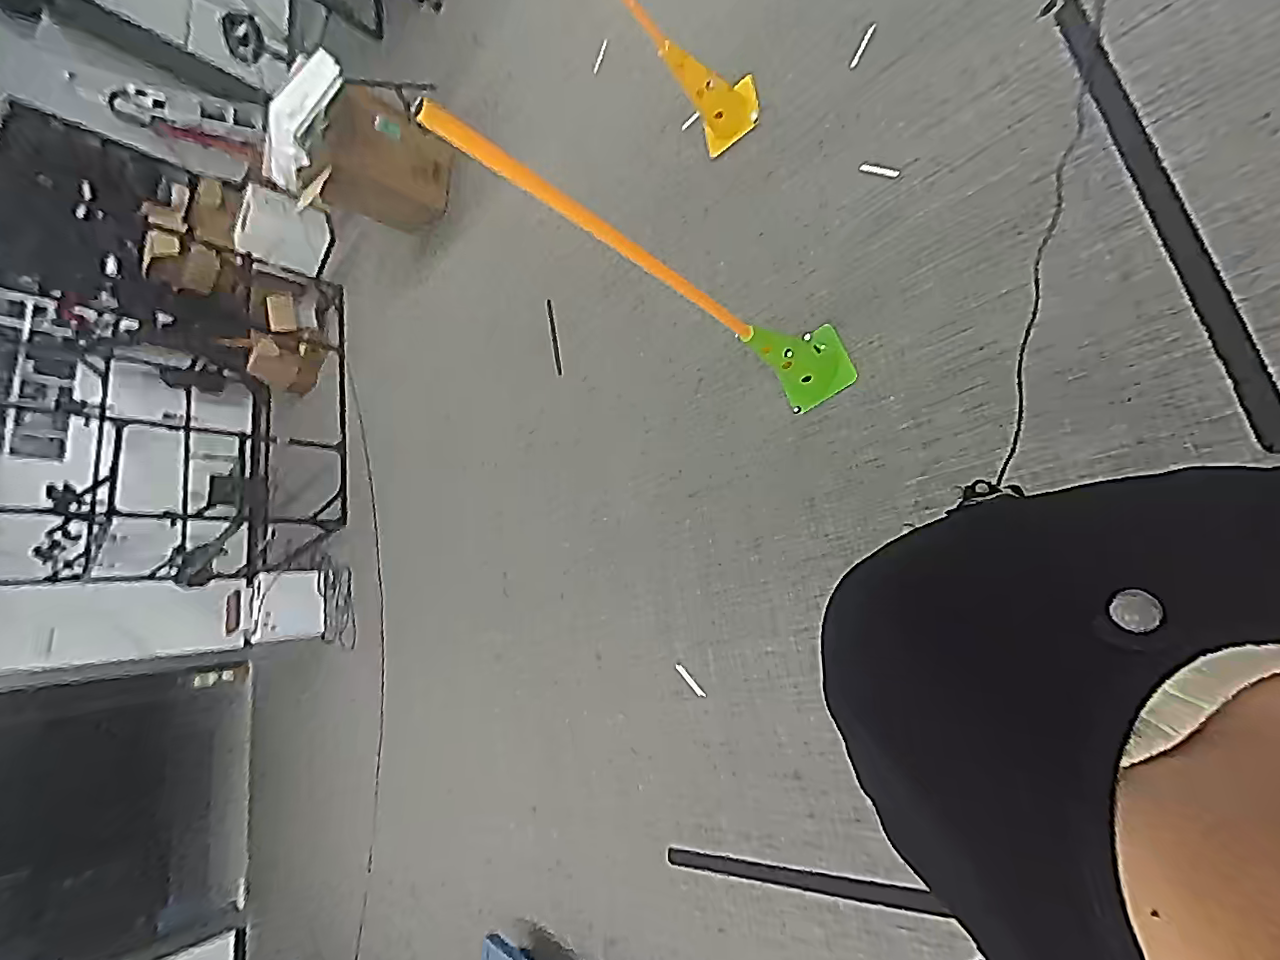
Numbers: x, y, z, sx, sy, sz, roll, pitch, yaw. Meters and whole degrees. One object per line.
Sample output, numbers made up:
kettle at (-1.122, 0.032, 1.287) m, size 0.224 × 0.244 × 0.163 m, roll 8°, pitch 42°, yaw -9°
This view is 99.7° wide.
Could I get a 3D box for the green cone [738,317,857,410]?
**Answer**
green cone at (0.374, -0.342, 1.399) m, size 0.200 × 0.368 × 0.202 m, roll -34°, pitch 60°, yaw 35°
